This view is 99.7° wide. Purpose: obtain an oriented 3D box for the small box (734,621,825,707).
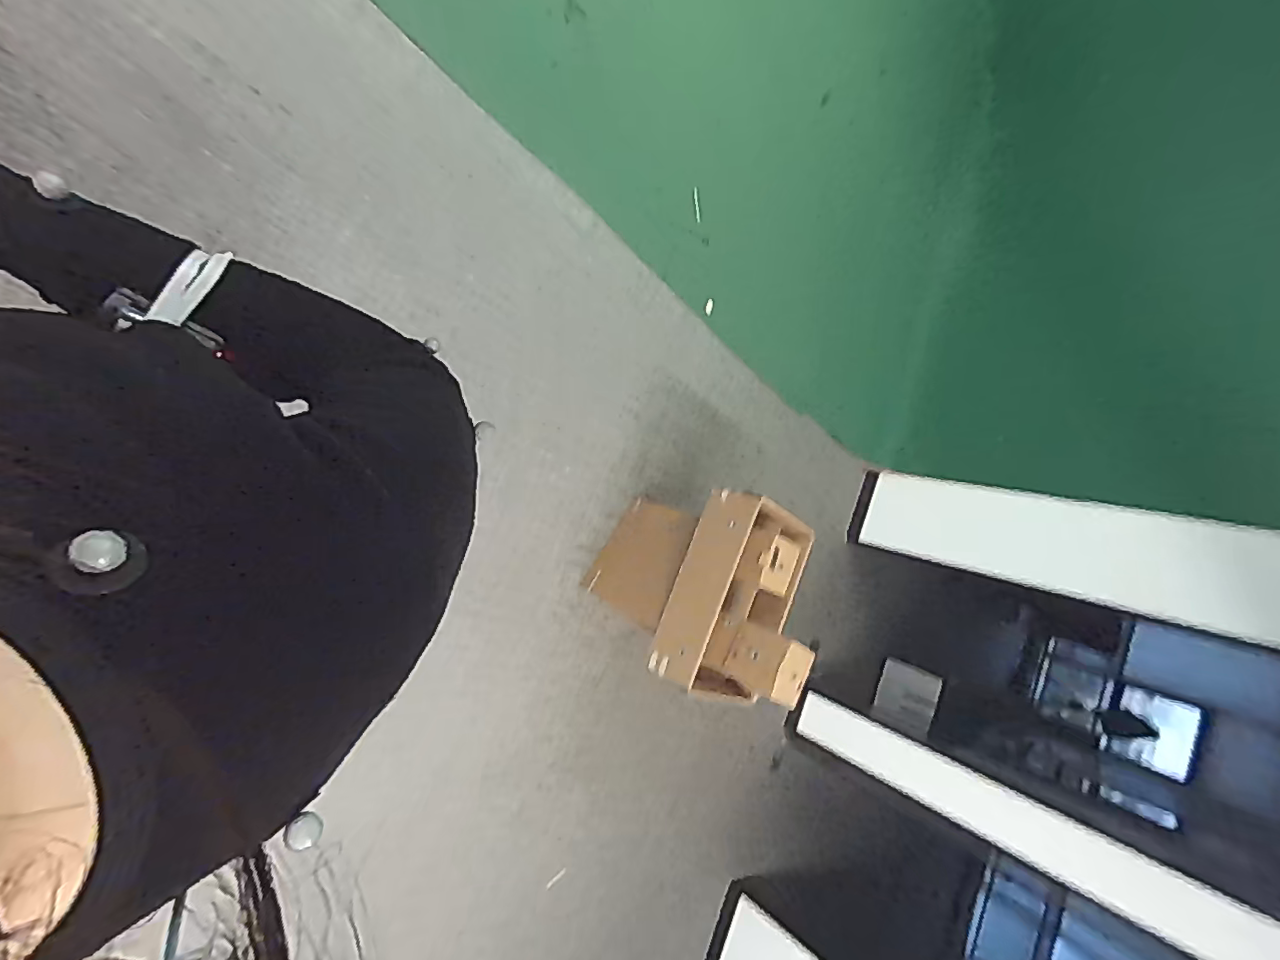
[{"bbox_3d":[0.402,0.530,1.573,0.179,0.176,0.168,37,75,-40],"label":"small box"}]
